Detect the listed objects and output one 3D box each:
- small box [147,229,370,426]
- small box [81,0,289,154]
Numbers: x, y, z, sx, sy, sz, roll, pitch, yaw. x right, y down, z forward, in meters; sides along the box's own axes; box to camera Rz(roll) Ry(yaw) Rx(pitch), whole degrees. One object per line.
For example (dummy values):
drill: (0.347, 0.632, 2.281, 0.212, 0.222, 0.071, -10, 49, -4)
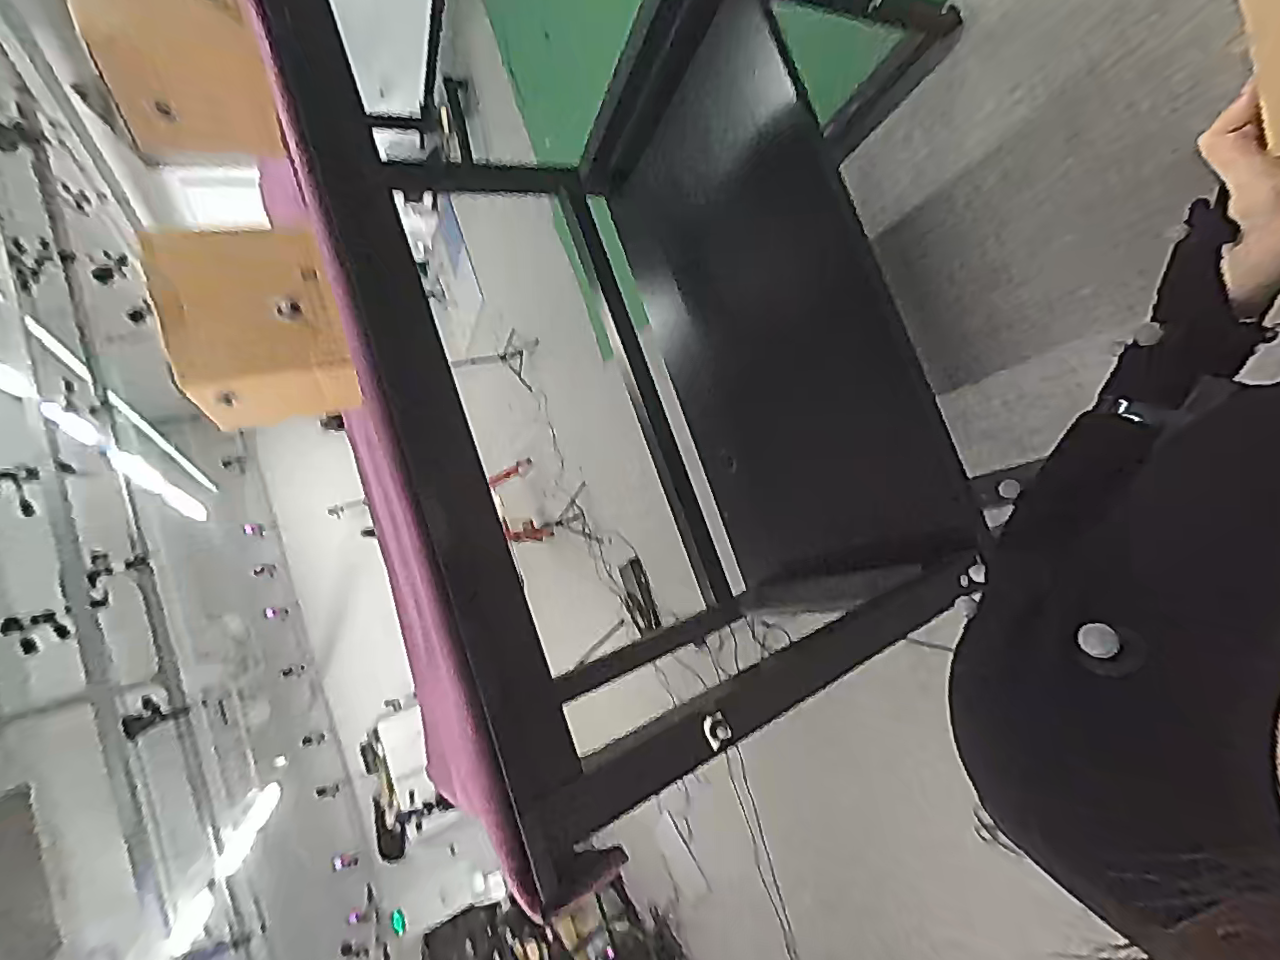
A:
small box: (-0.432, -0.176, 0.646, 0.179, 0.176, 0.168, -22, 85, 62)
small box: (-0.560, -0.539, 0.677, 0.179, 0.176, 0.168, -20, 87, 61)
